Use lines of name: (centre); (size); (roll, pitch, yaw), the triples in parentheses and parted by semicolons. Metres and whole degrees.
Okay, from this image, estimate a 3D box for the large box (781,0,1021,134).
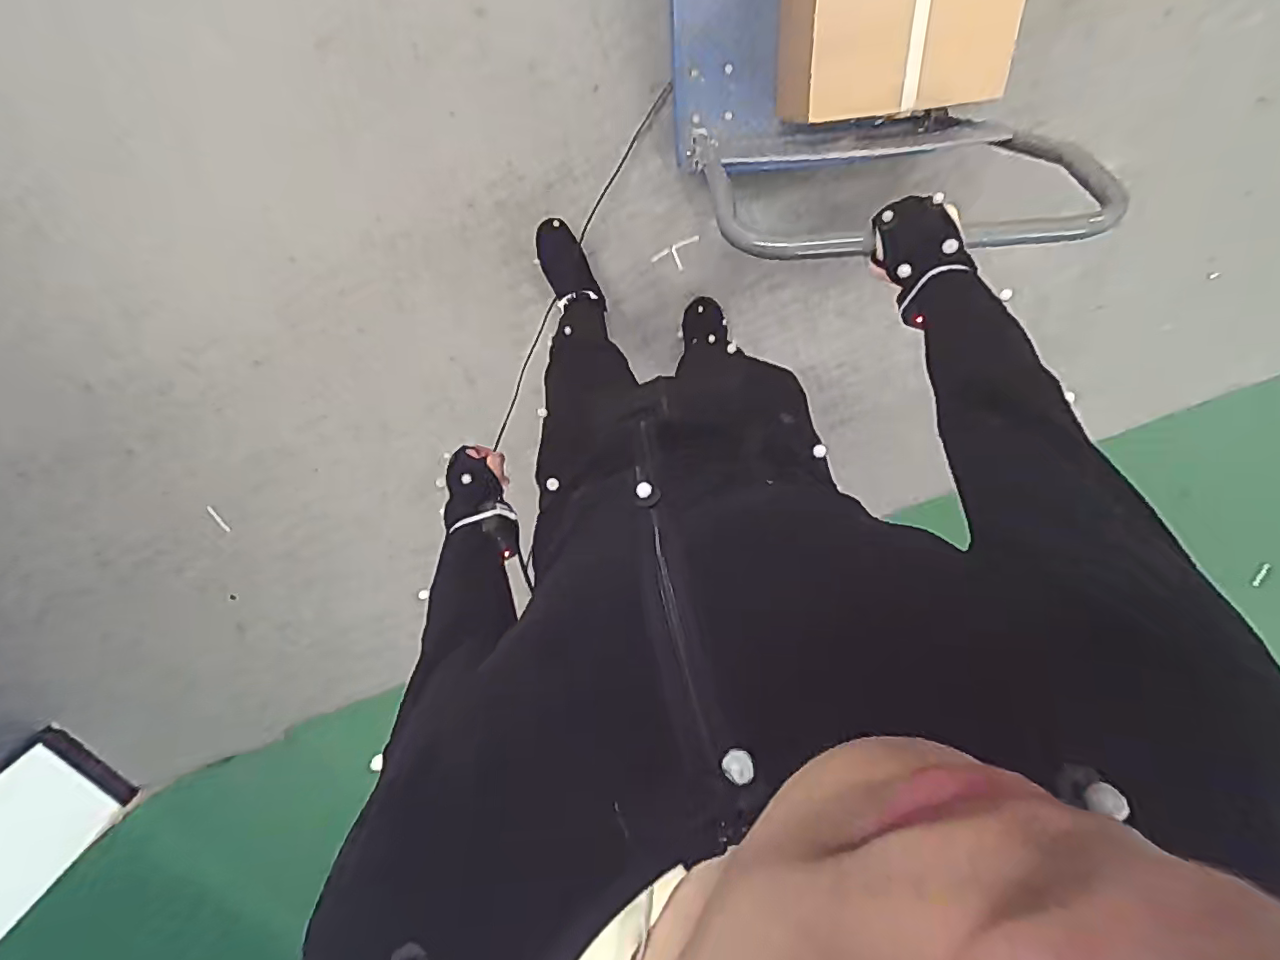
large box: (0.421, -0.844, 0.915); (0.320, 0.320, 0.408); (-4, 123, 4)
